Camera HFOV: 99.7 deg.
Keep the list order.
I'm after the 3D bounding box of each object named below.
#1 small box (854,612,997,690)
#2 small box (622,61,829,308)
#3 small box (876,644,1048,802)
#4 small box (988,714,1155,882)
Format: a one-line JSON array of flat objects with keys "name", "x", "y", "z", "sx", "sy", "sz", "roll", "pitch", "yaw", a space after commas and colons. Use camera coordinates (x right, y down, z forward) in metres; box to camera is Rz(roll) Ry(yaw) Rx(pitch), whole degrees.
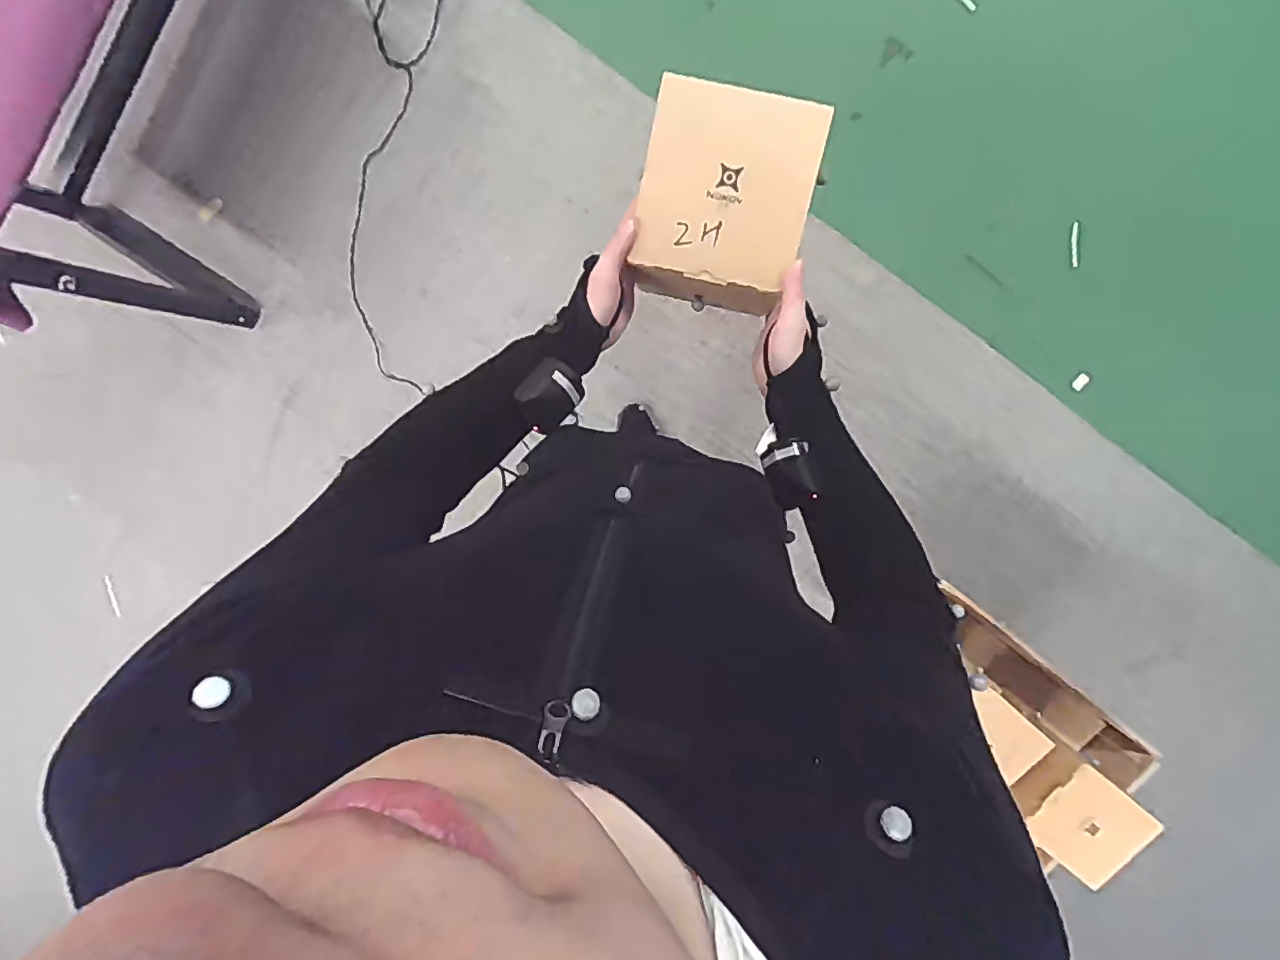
[{"name": "small box", "x": 0.593, "y": 0.405, "z": 1.153, "sx": 0.179, "sy": 0.176, "sz": 0.168, "roll": 39, "pitch": 98, "yaw": -4}, {"name": "small box", "x": 0.084, "y": -0.304, "z": 0.596, "sx": 0.168, "sy": 0.176, "sz": 0.179, "roll": 13, "pitch": 101, "yaw": 2}, {"name": "small box", "x": 0.573, "y": 0.429, "z": 0.993, "sx": 0.179, "sy": 0.176, "sz": 0.168, "roll": 42, "pitch": 99, "yaw": -4}, {"name": "small box", "x": 0.767, "y": 0.578, "z": 1.007, "sx": 0.179, "sy": 0.176, "sz": 0.168, "roll": 39, "pitch": 98, "yaw": -1}]
